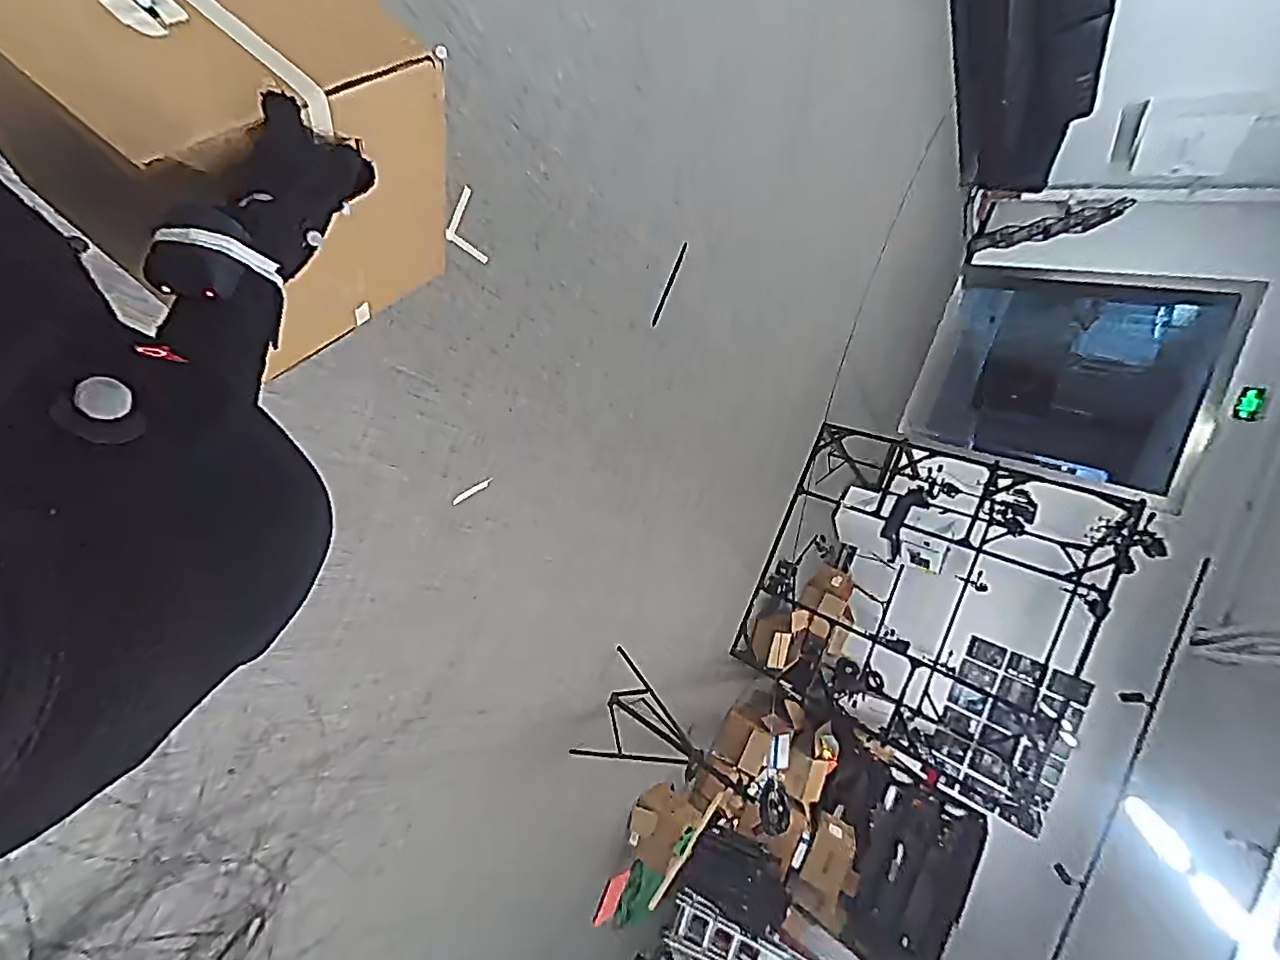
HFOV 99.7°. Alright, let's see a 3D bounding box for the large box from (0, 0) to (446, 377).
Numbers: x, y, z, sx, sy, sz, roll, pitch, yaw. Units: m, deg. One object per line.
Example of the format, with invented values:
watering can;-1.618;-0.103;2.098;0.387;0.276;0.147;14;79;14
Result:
large box;-0.488;-0.405;0.621;0.320;0.408;0.320;-50;-179;-29
